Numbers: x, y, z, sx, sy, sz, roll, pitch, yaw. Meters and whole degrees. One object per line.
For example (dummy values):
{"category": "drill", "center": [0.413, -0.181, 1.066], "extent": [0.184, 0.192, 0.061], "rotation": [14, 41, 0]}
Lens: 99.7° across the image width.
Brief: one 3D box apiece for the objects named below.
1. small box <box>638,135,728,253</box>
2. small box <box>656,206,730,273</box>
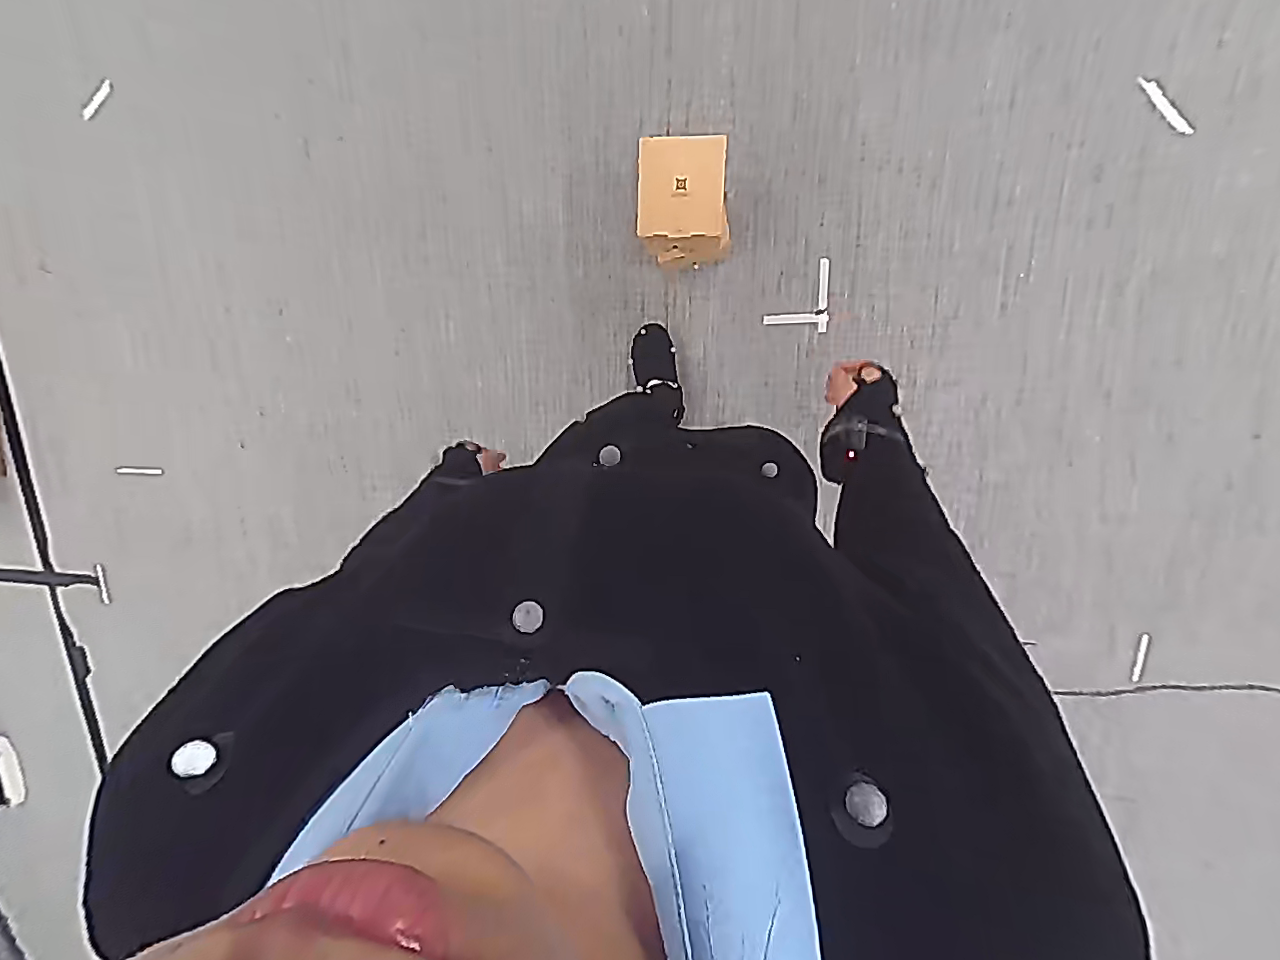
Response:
{"category": "small box", "center": [0.087, -0.570, 1.098], "extent": [0.168, 0.176, 0.179], "rotation": [2, 103, 6]}
{"category": "small box", "center": [0.112, -0.600, 1.257], "extent": [0.168, 0.176, 0.179], "rotation": [-10, 102, 9]}
